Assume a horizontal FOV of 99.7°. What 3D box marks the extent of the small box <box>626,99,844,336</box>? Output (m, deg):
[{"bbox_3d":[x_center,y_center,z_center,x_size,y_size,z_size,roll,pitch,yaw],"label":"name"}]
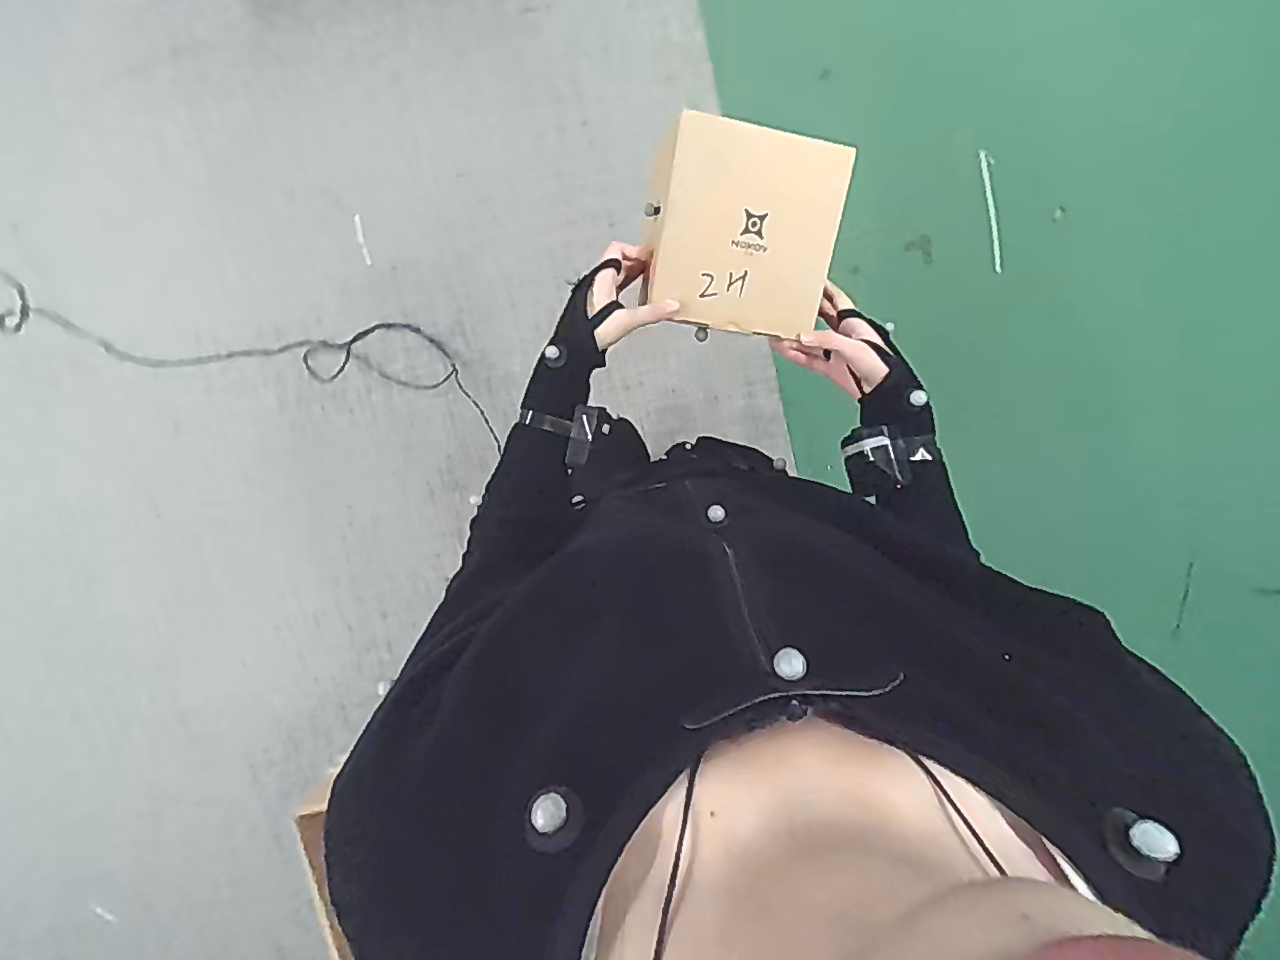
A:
[{"bbox_3d":[0.081,-0.254,0.568,0.168,0.176,0.179,6,106,-9],"label":"small box"}]
